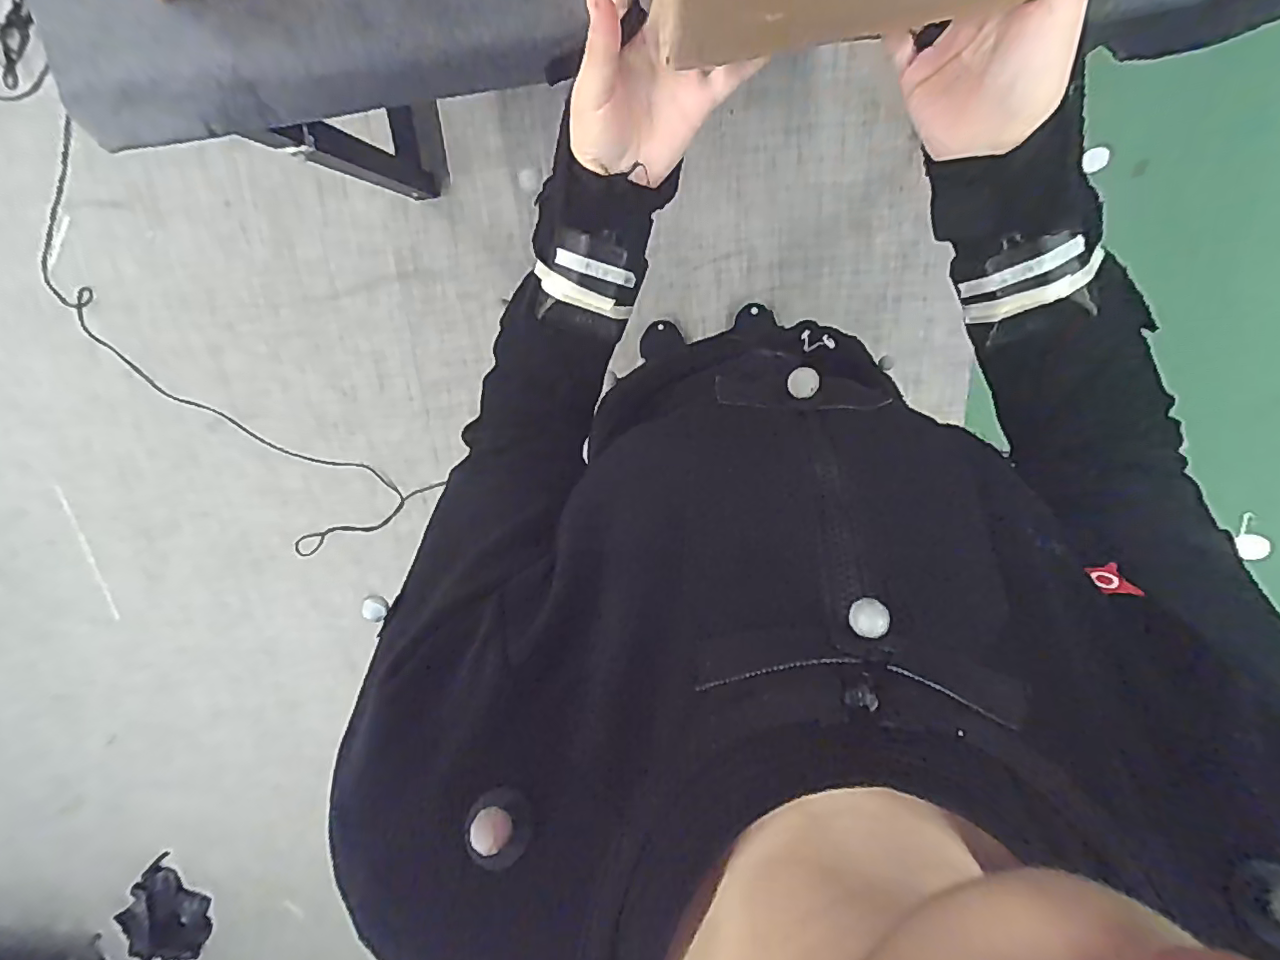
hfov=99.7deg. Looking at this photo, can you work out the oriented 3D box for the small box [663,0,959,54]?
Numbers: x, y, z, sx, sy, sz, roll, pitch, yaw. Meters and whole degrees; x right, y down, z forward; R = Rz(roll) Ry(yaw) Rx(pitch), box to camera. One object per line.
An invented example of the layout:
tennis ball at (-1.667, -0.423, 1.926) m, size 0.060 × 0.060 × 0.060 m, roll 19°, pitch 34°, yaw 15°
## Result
small box at (0.088, -0.266, 0.160) m, size 0.179 × 0.176 × 0.168 m, roll -9°, pitch 111°, yaw 5°
